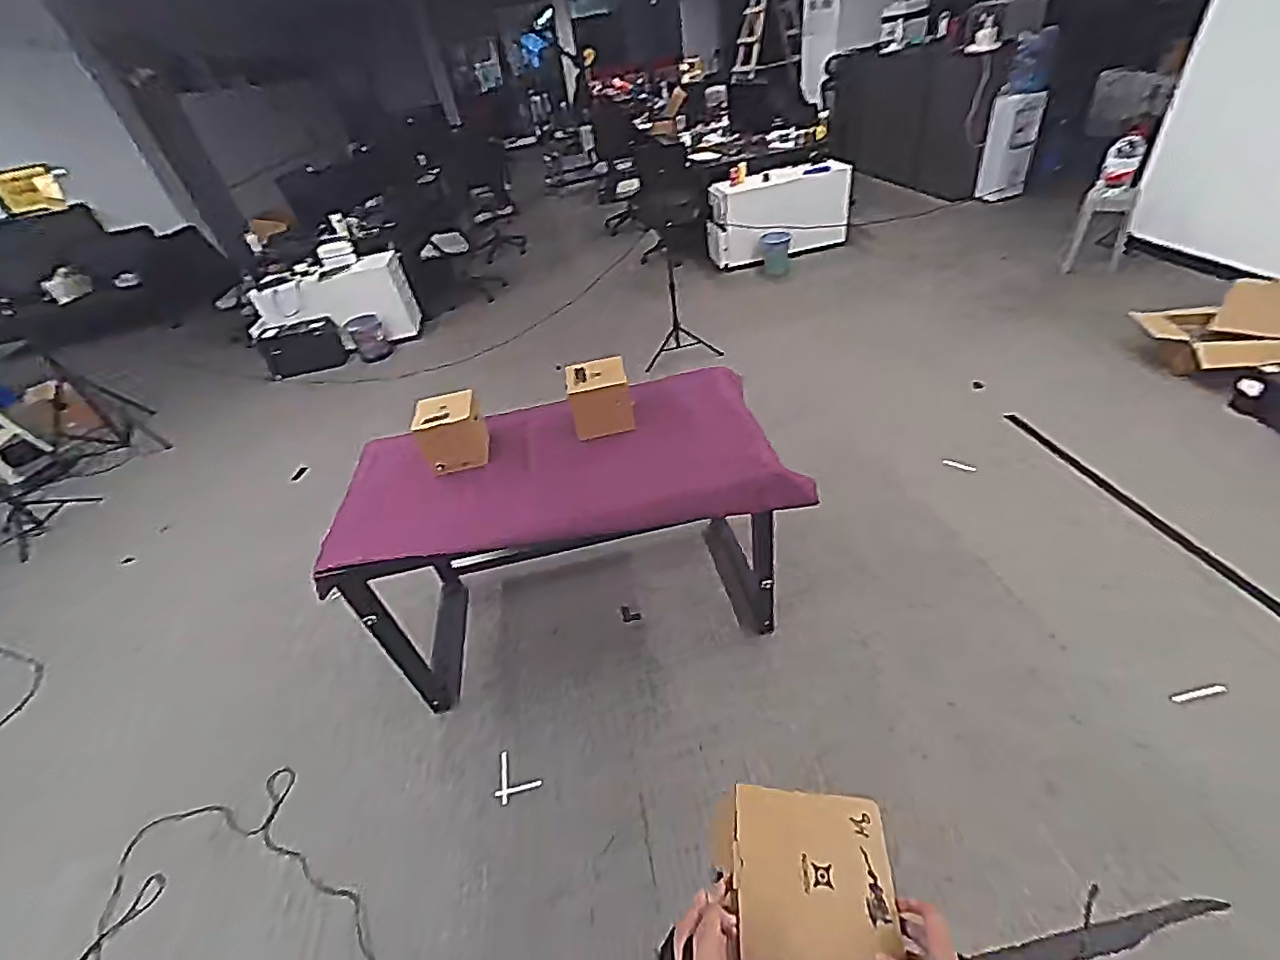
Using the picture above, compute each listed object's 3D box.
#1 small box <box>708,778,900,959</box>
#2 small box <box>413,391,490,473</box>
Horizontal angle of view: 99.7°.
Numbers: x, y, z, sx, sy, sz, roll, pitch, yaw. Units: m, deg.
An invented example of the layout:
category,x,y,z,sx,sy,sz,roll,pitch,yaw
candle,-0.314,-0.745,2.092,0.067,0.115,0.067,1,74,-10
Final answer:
category,x,y,z,sx,sy,sz,roll,pitch,yaw
small box,0.179,0.484,0.651,0.179,0.176,0.168,6,45,1
small box,-0.557,-0.137,1.624,0.168,0.176,0.179,-13,39,-3
